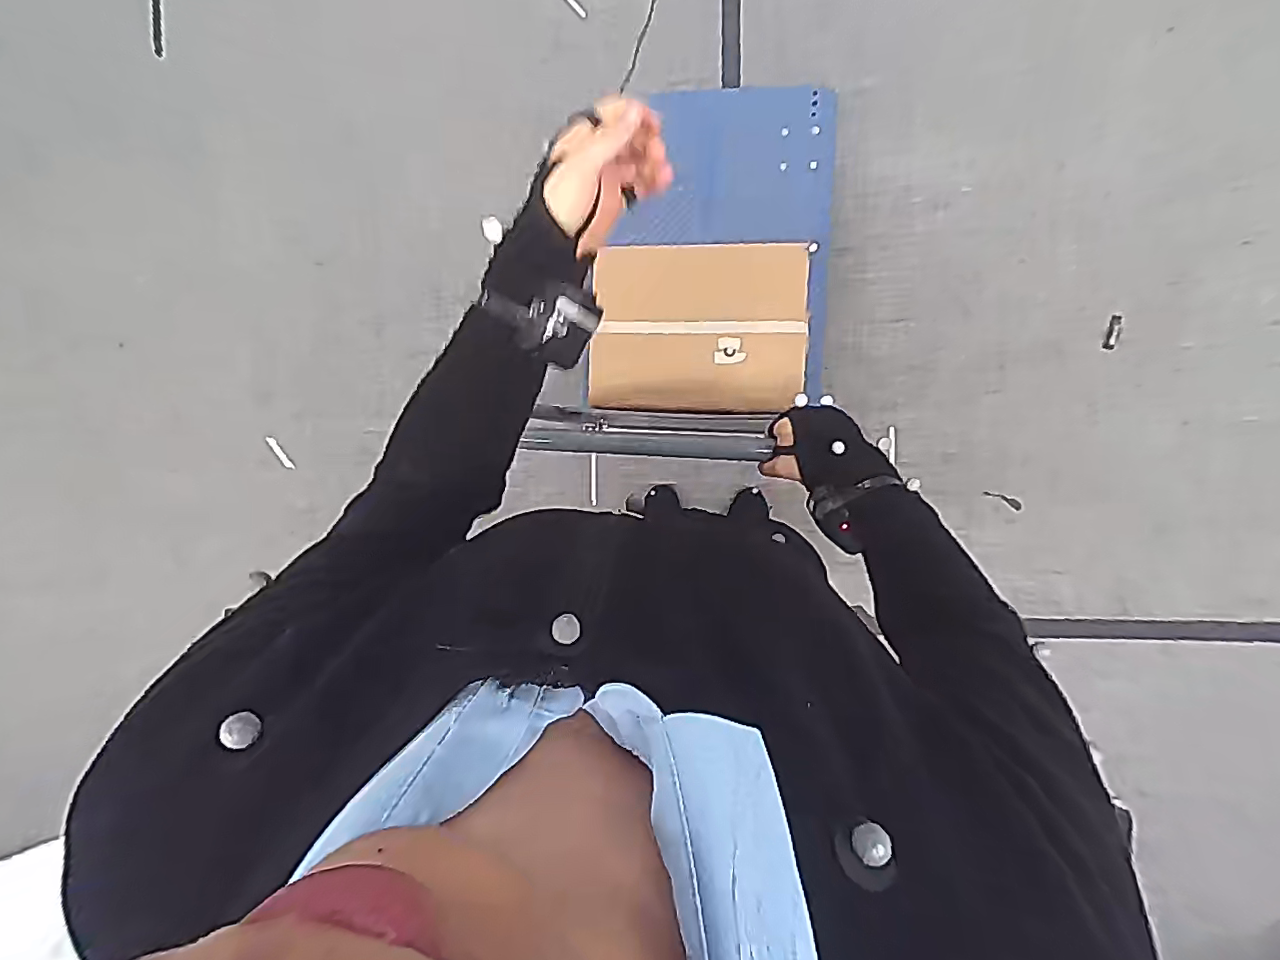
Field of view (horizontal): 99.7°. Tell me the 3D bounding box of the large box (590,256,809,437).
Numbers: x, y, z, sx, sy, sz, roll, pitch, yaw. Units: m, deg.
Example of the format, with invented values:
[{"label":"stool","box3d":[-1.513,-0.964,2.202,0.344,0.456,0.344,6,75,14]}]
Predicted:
[{"label":"large box","box3d":[0.124,-0.259,1.154,0.408,0.320,0.320,3,91,8]}]
